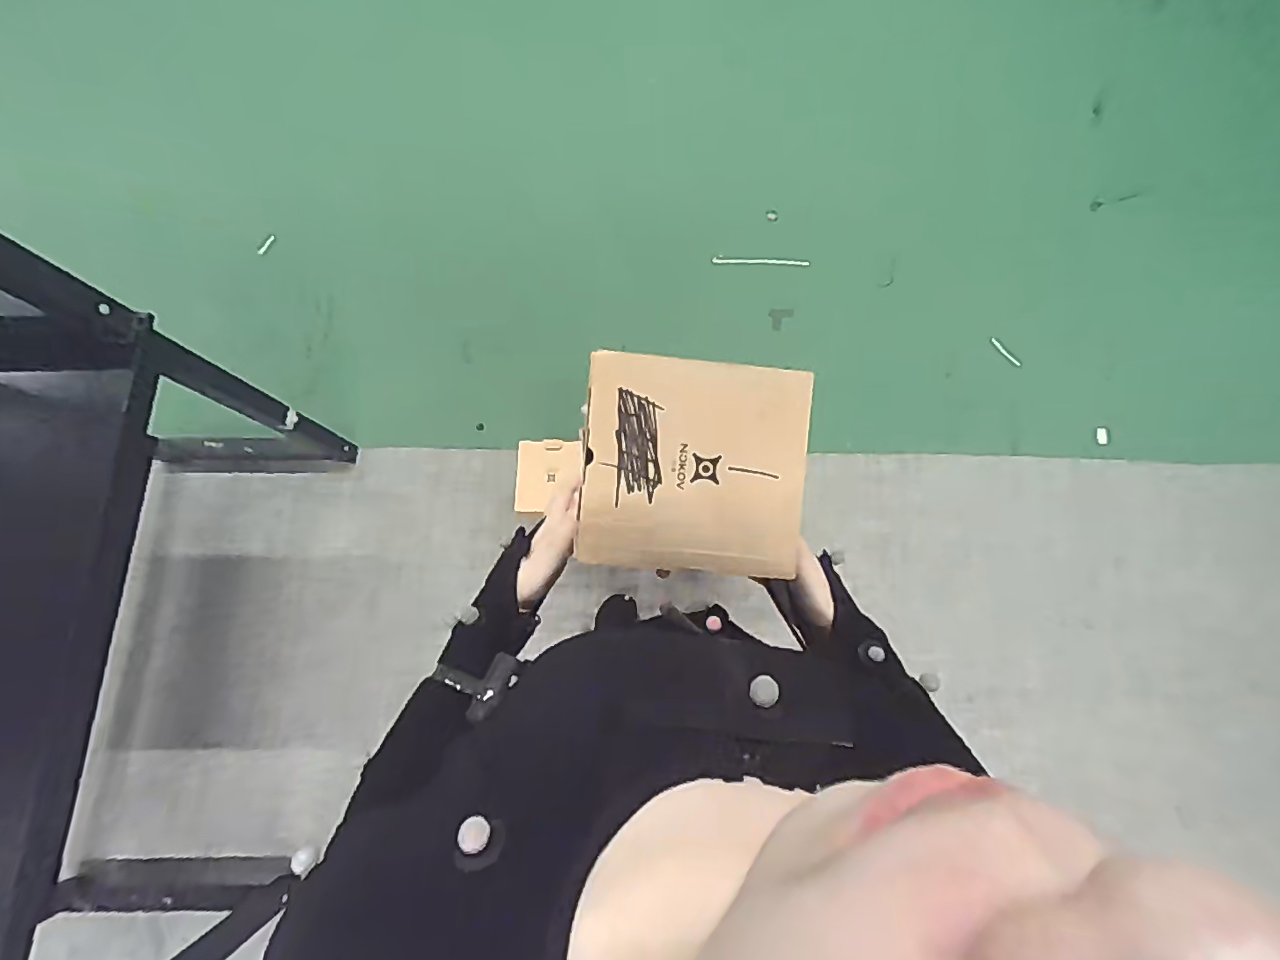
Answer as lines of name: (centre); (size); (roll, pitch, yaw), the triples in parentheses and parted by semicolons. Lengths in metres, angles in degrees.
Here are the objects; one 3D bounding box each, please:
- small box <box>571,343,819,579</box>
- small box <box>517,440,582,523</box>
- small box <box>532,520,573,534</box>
small box: (0.039, -0.014, 0.485); (0.179, 0.176, 0.168); (5, 91, -3)
small box: (-0.197, 0.010, 1.324); (0.168, 0.176, 0.179); (0, 75, 1)
small box: (-0.196, 0.054, 1.481); (0.168, 0.176, 0.179); (-1, 77, 0)
